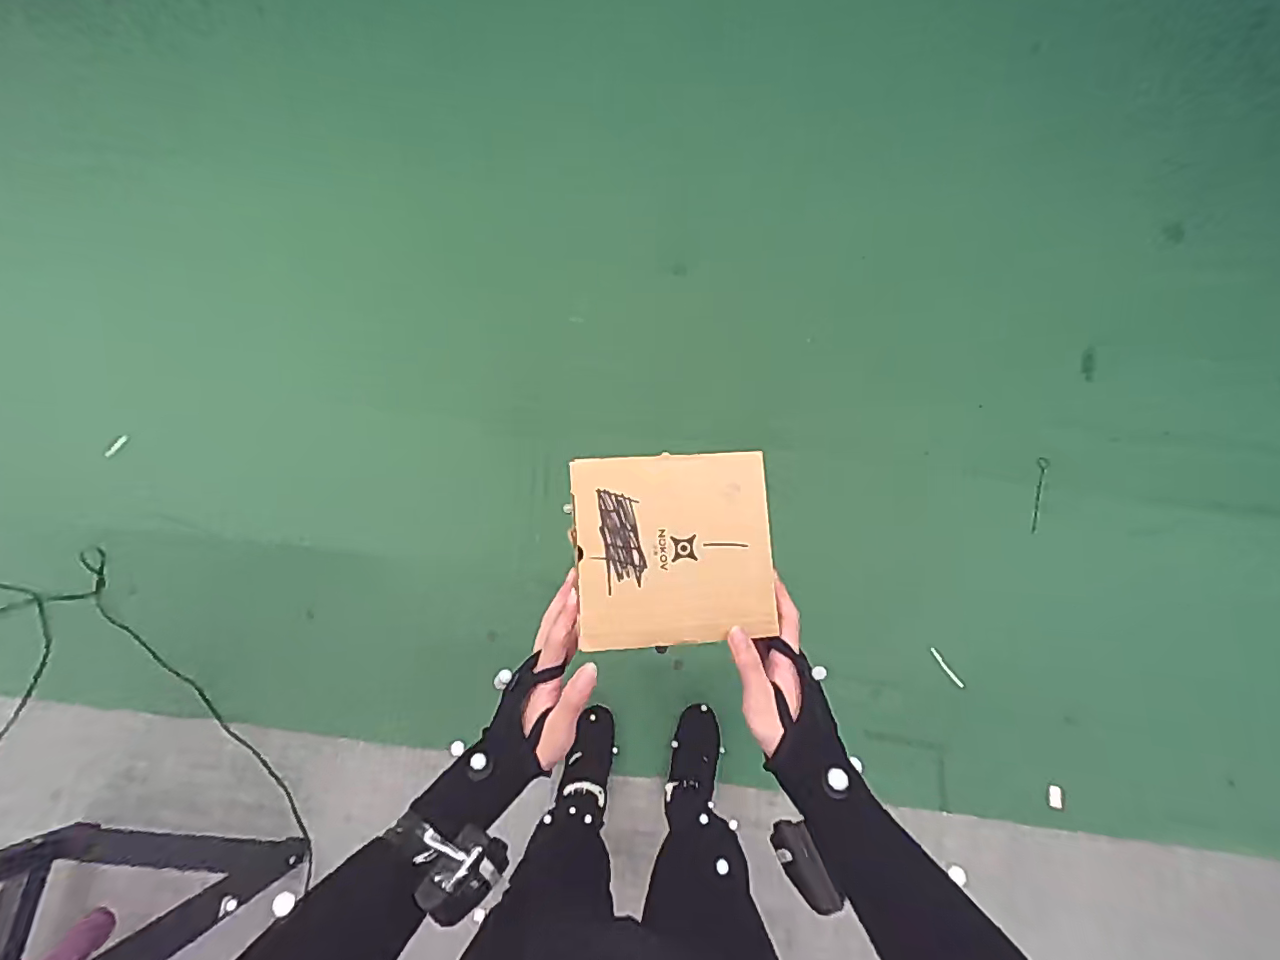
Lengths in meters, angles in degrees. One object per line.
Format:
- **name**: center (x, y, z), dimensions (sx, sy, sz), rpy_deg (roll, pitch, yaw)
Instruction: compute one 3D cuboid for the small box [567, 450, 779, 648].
- **small box**: center (0.022, 0.067, 0.542), dimensions (0.179, 0.176, 0.168), rpy_deg (-3, 83, -5)
